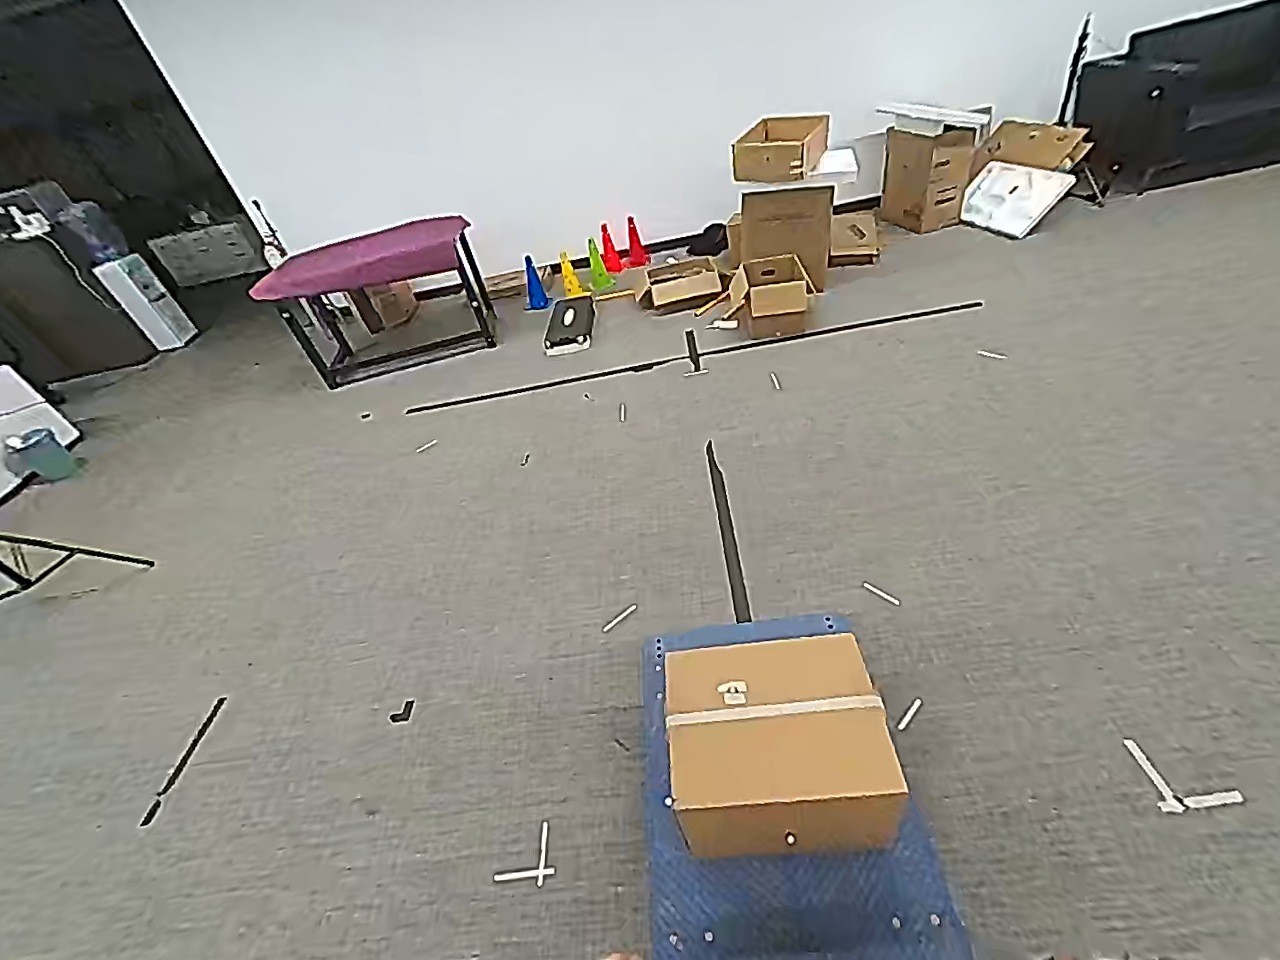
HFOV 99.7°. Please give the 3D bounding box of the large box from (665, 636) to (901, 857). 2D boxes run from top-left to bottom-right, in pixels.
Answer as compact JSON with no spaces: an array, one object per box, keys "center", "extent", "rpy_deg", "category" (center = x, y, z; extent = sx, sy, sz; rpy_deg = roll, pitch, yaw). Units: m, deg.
[{"center":[0.285,0.574,1.159],"extent":[0.408,0.320,0.320],"rpy_deg":[-9,39,7],"category":"large box"}]
